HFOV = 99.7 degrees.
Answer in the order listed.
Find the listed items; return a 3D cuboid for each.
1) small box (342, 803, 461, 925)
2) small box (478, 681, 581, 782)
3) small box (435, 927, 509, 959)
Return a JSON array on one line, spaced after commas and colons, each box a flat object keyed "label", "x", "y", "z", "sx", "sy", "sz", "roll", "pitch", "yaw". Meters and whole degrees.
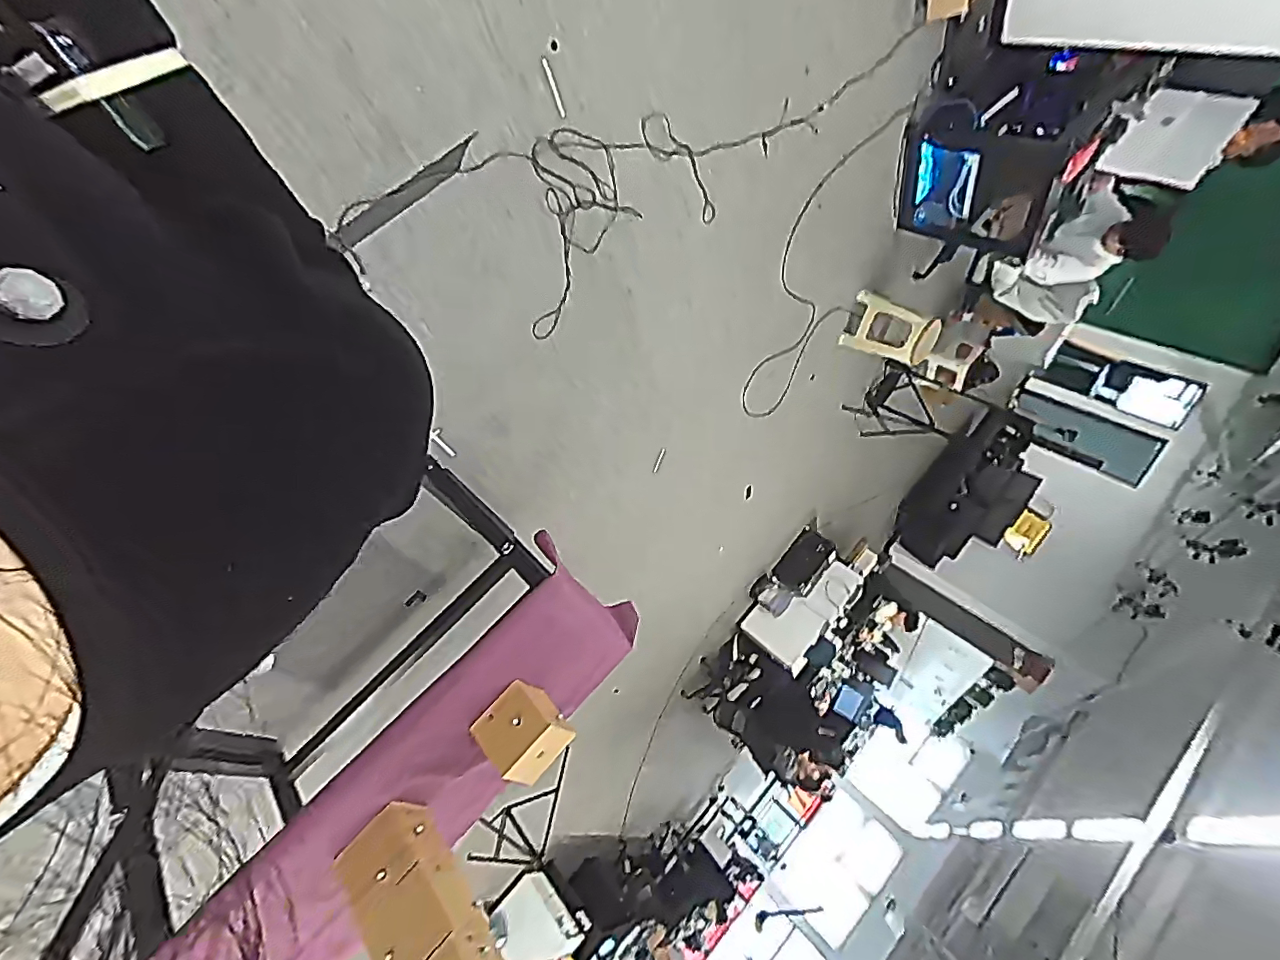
[{"label": "small box", "x": -0.579, "y": 0.922, "z": 1.314, "sx": 0.179, "sy": 0.176, "sz": 0.168, "roll": -44, "pitch": 144, "yaw": -14}, {"label": "small box", "x": -0.294, "y": 0.662, "z": 1.431, "sx": 0.168, "sy": 0.176, "sz": 0.179, "roll": -46, "pitch": 146, "yaw": -12}, {"label": "small box", "x": -0.366, "y": 1.087, "z": 1.125, "sx": 0.179, "sy": 0.176, "sz": 0.168, "roll": -45, "pitch": 145, "yaw": -14}]
